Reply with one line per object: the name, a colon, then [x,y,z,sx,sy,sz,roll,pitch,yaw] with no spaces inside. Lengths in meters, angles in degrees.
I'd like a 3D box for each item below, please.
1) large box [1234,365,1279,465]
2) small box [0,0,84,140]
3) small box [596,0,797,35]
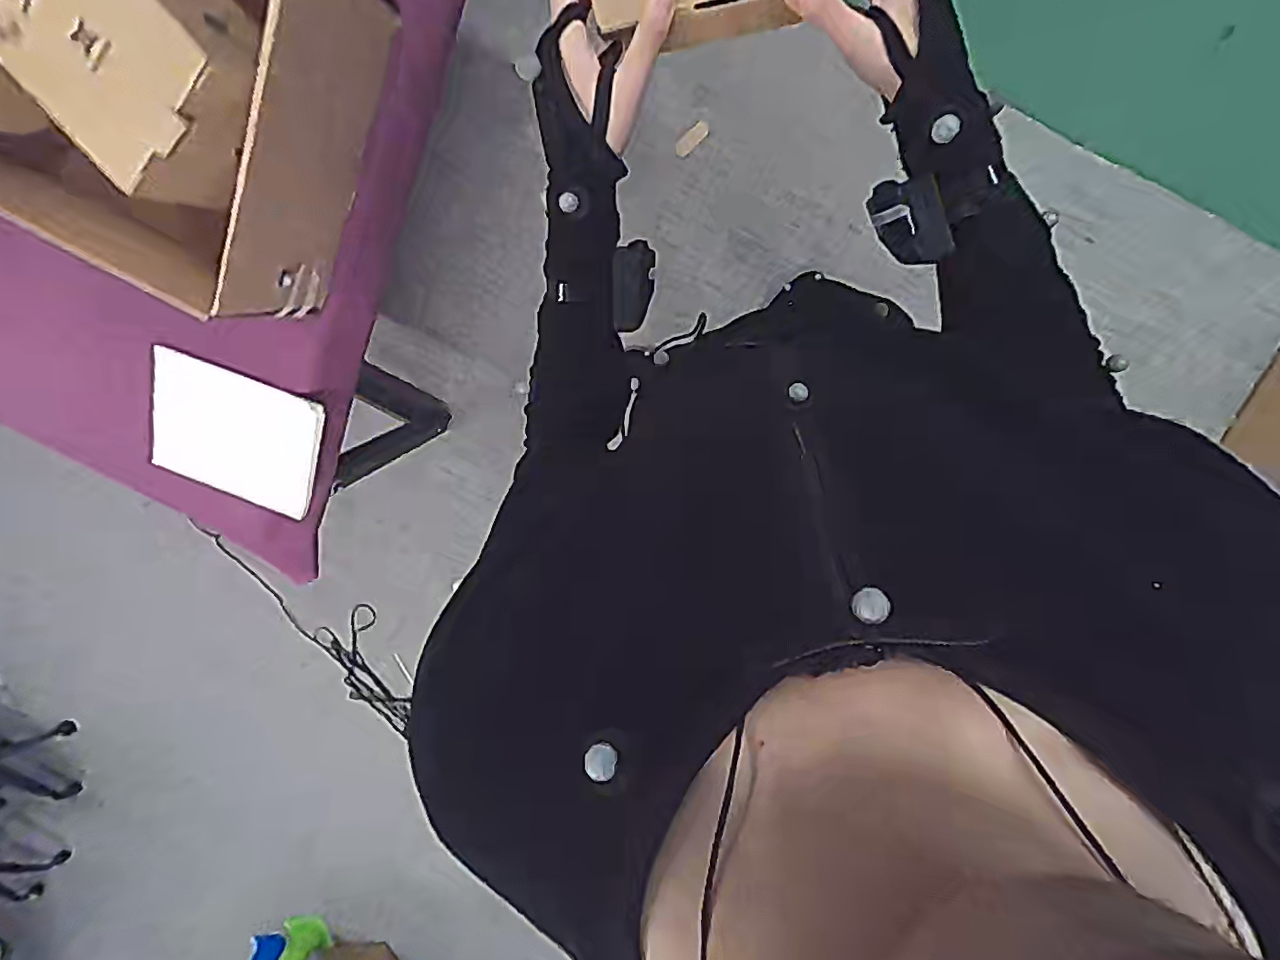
large box: [1.627,-0.180,1.127,0.320,0.320,0.408,13,109,2]
small box: [-0.766,-0.498,0.580,0.179,0.176,0.168,28,110,-5]
small box: [0.042,-0.405,0.339,0.168,0.176,0.179,-9,125,5]
